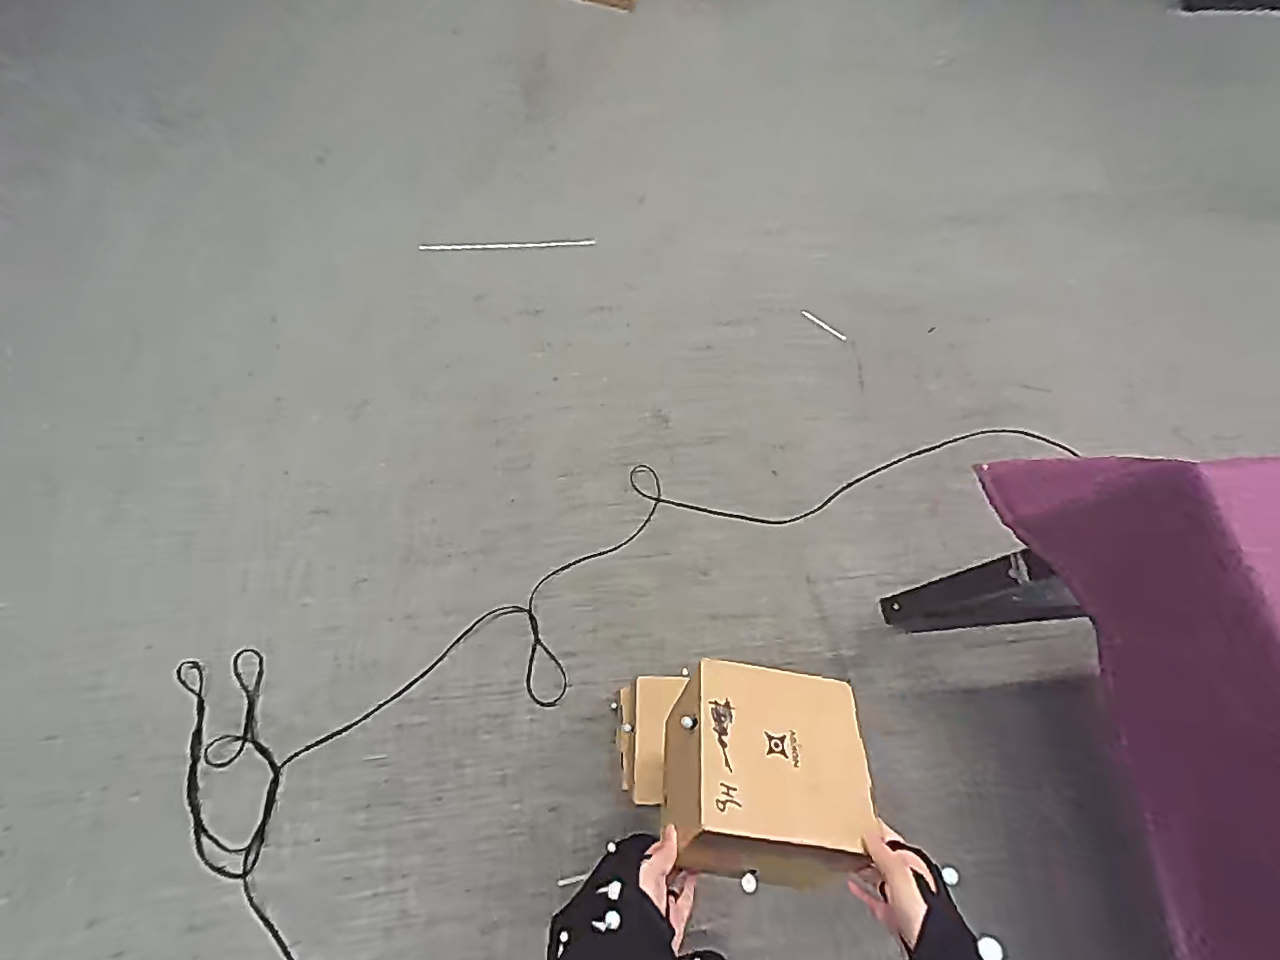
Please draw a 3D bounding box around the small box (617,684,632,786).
[{"bbox_3d":[0.045,0.479,1.032,0.179,0.176,0.168,0,69,-5],"label":"small box"}]

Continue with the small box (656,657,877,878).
[{"bbox_3d":[0.125,0.324,0.602,0.179,0.176,0.168,11,44,-5],"label":"small box"}]

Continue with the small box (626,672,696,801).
[{"bbox_3d":[0.065,0.412,0.882,0.168,0.176,0.179,3,69,-3],"label":"small box"}]
